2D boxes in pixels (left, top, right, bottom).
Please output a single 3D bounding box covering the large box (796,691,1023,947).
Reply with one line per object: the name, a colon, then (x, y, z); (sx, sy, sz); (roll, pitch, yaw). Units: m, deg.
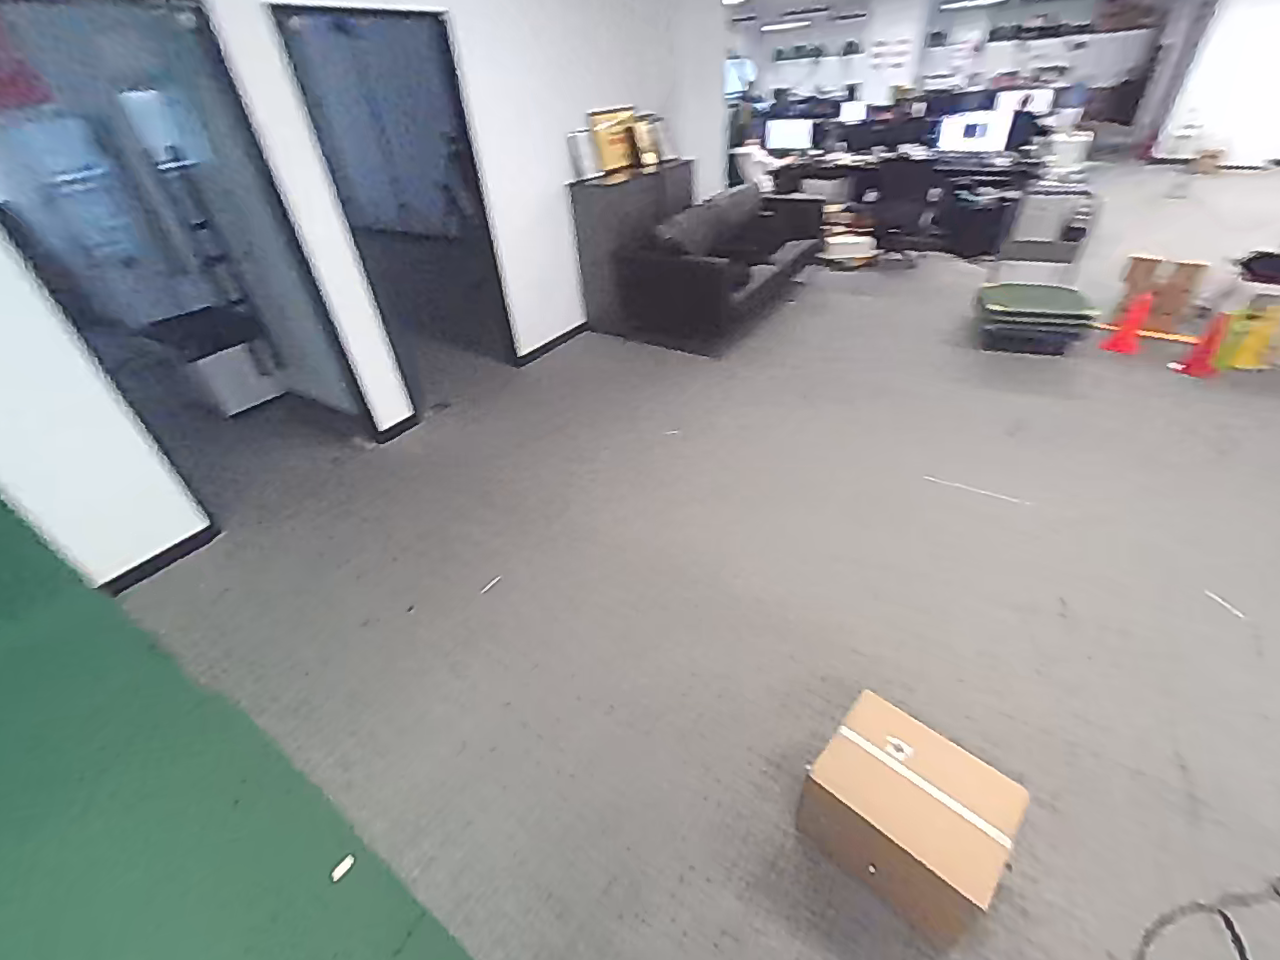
large box: (0.658, 0.836, 1.370); (0.408, 0.320, 0.320); (26, 46, 37)
